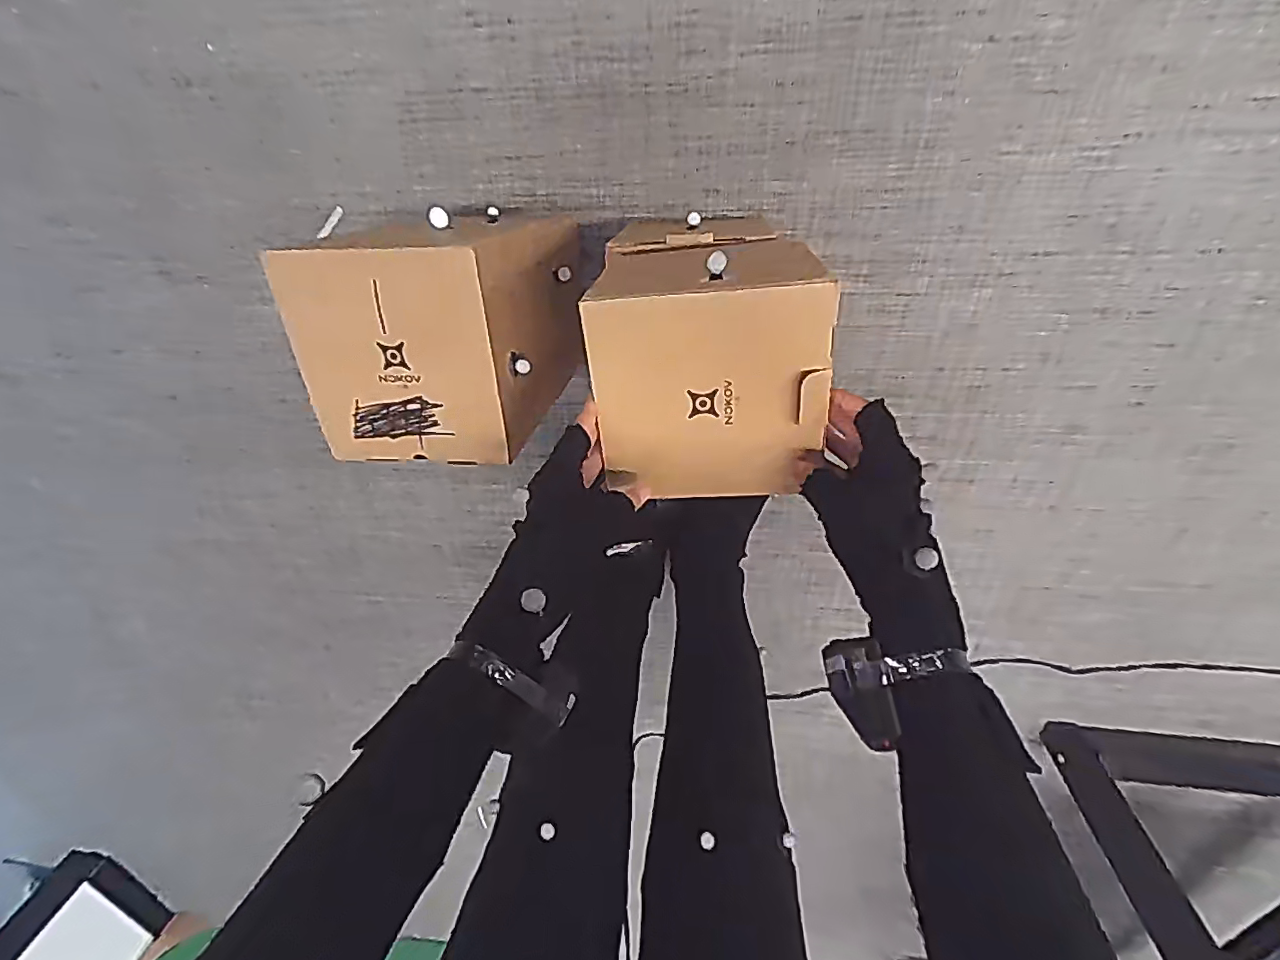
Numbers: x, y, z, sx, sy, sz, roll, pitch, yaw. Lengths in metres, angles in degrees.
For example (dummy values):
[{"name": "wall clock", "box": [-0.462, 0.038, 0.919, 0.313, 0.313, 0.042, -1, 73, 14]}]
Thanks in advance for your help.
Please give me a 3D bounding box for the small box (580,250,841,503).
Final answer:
[{"name": "small box", "box": [0.058, -0.094, 0.467, 0.179, 0.176, 0.168, -2, 121, 7]}]
